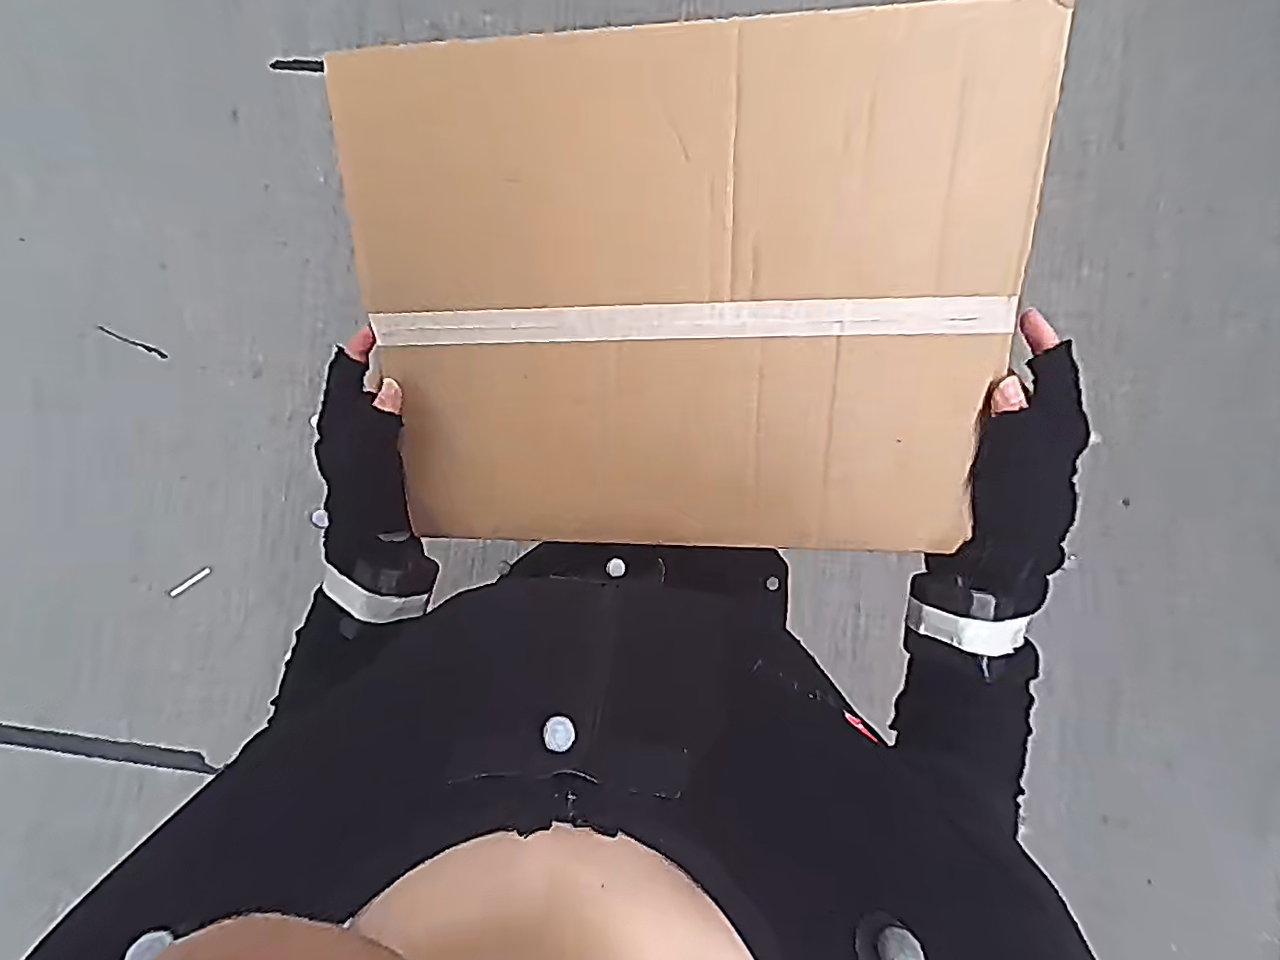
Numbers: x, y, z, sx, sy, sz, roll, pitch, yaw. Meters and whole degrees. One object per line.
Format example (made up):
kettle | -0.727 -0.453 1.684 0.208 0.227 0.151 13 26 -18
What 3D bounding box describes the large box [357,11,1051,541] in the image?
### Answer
large box | 0.041 -0.150 0.495 0.408 0.320 0.320 1 110 7
